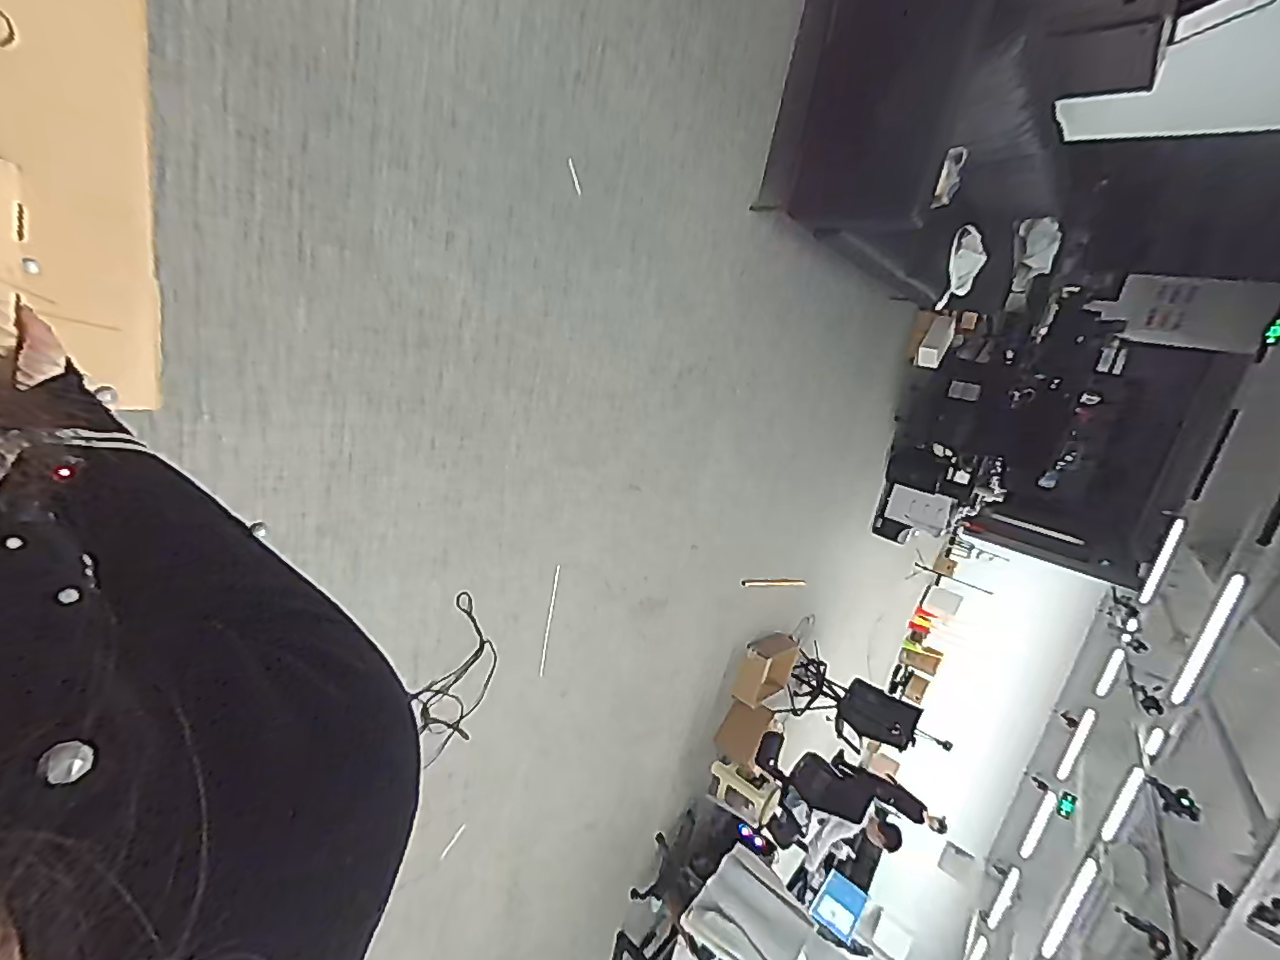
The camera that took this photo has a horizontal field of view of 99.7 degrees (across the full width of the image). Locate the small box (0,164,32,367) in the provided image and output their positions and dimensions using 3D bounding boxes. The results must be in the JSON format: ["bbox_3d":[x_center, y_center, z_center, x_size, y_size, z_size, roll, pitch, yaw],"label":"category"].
[{"bbox_3d":[-0.633,-0.201,0.441,0.179,0.176,0.168,3,106,-50],"label":"small box"}]
